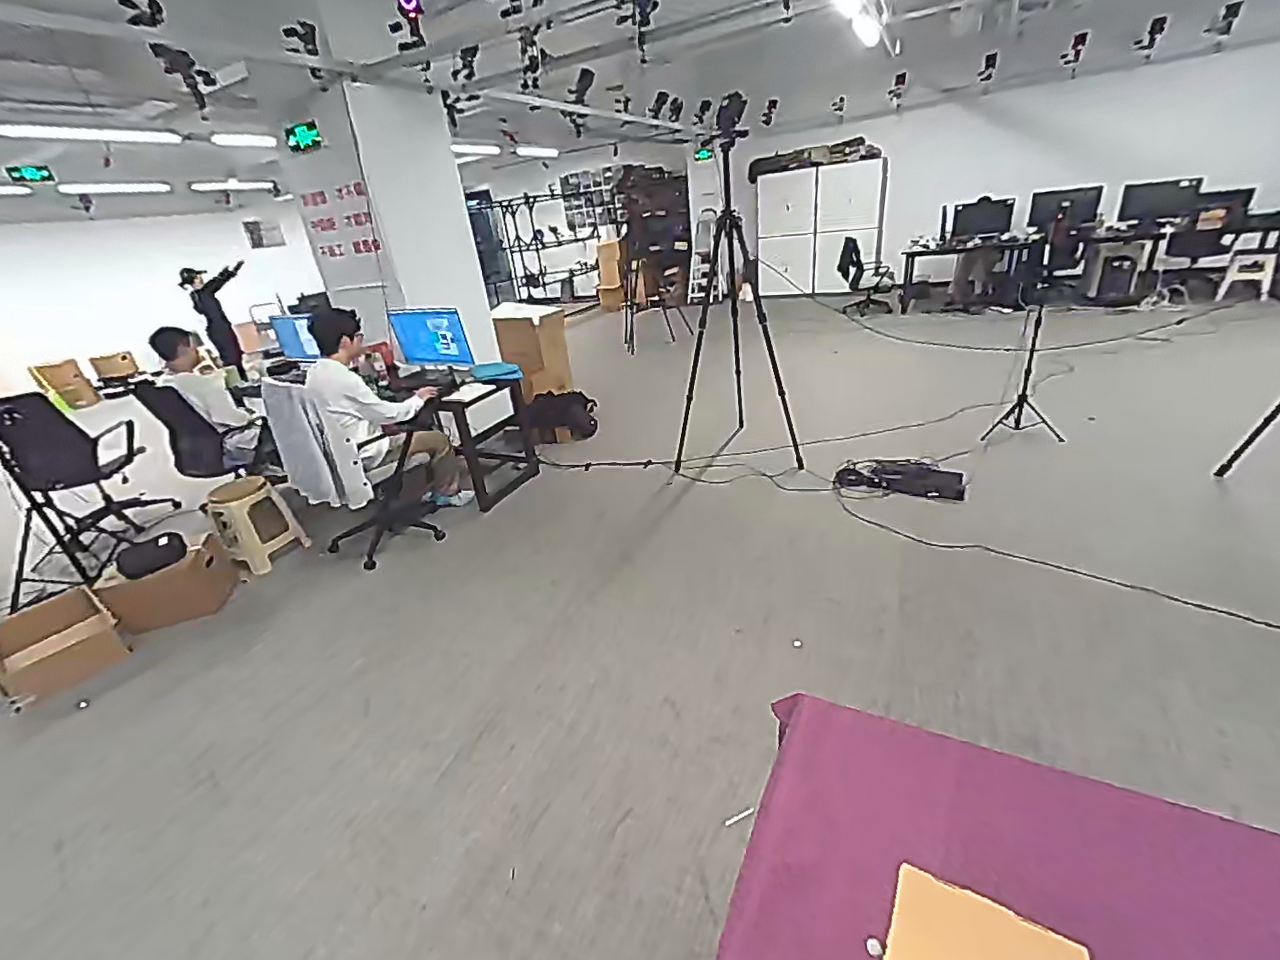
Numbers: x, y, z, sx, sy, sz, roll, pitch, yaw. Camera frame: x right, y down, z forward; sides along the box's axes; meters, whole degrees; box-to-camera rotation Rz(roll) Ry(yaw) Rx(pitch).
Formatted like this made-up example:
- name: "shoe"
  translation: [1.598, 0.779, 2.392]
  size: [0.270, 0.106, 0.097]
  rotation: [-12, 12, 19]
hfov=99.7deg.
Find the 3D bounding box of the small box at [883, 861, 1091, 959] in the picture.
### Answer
- name: "small box"
  translation: [0.326, 0.541, 0.529]
  size: [0.168, 0.176, 0.179]
  rotation: [9, 30, 32]
